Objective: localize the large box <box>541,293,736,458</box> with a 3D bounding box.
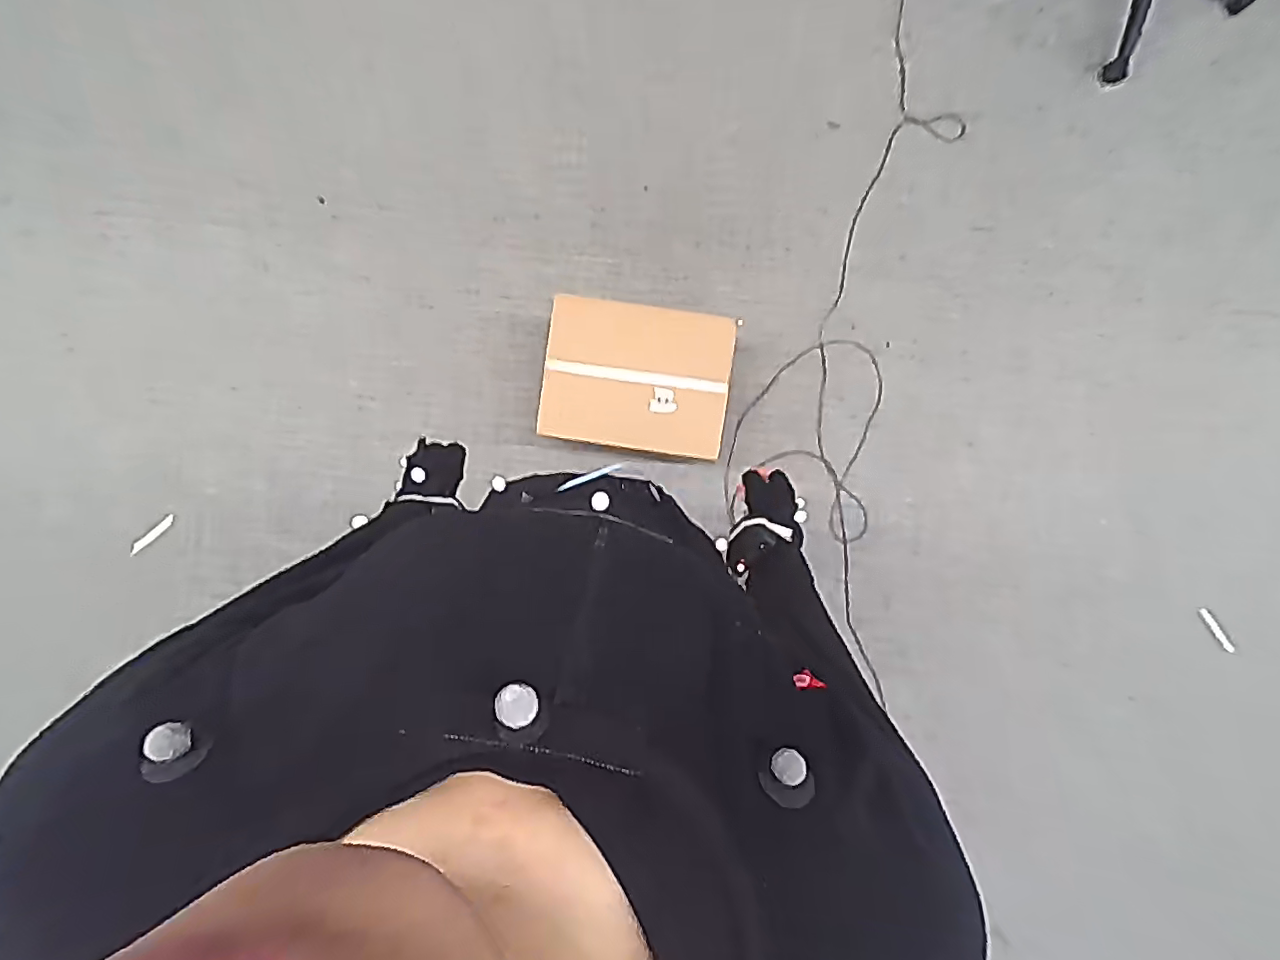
[{"bbox_3d":[-0.006,-0.235,1.335,0.408,0.320,0.320,9,92,0],"label":"large box"}]
